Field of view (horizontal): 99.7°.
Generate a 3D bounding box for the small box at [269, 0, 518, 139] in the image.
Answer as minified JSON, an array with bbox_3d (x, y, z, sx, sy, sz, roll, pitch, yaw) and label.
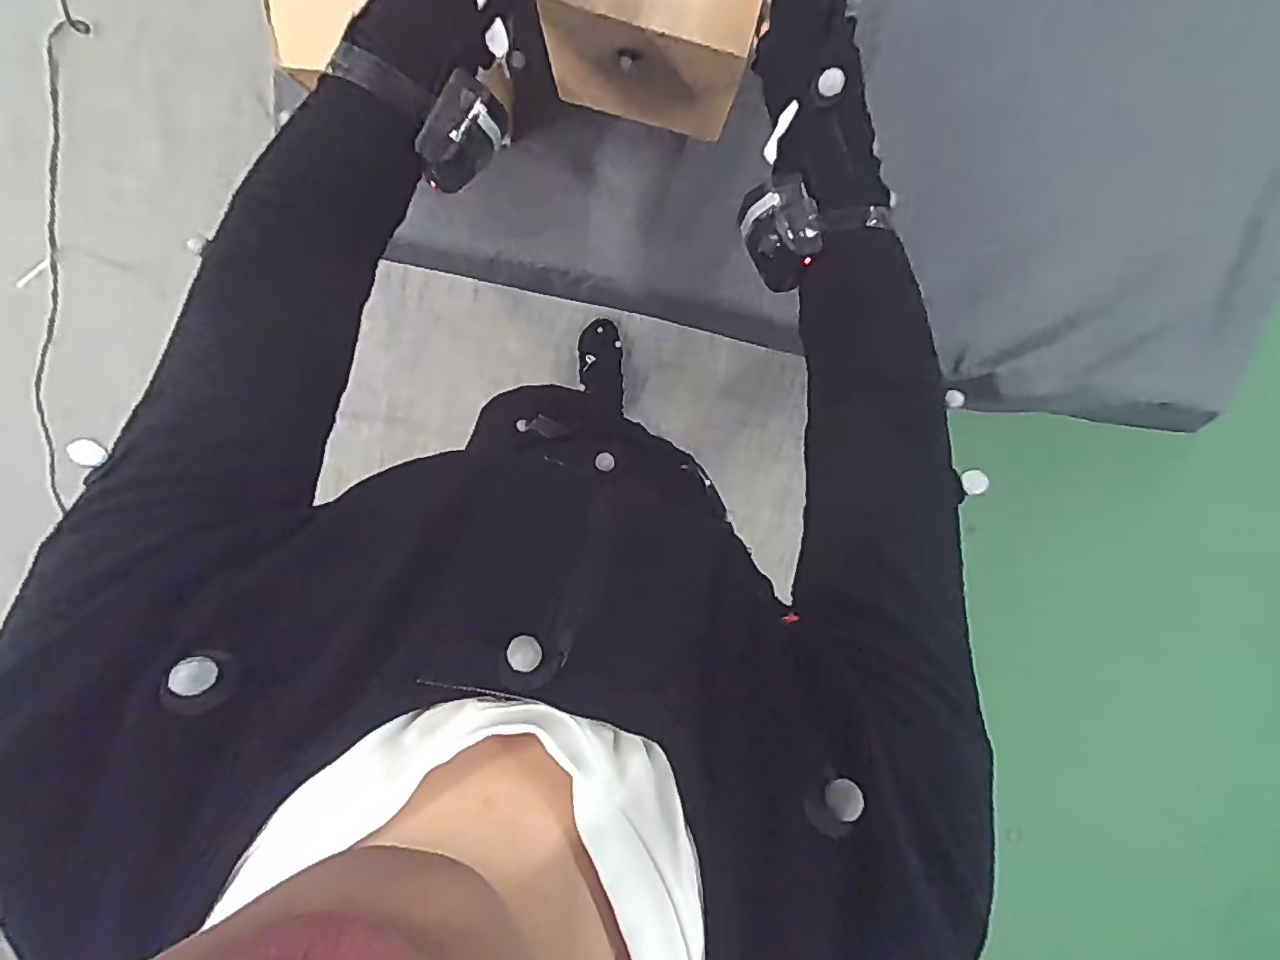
[{"bbox_3d":[-0.222,-0.451,0.520,0.179,0.176,0.168,2,105,-3],"label":"small box"}]
